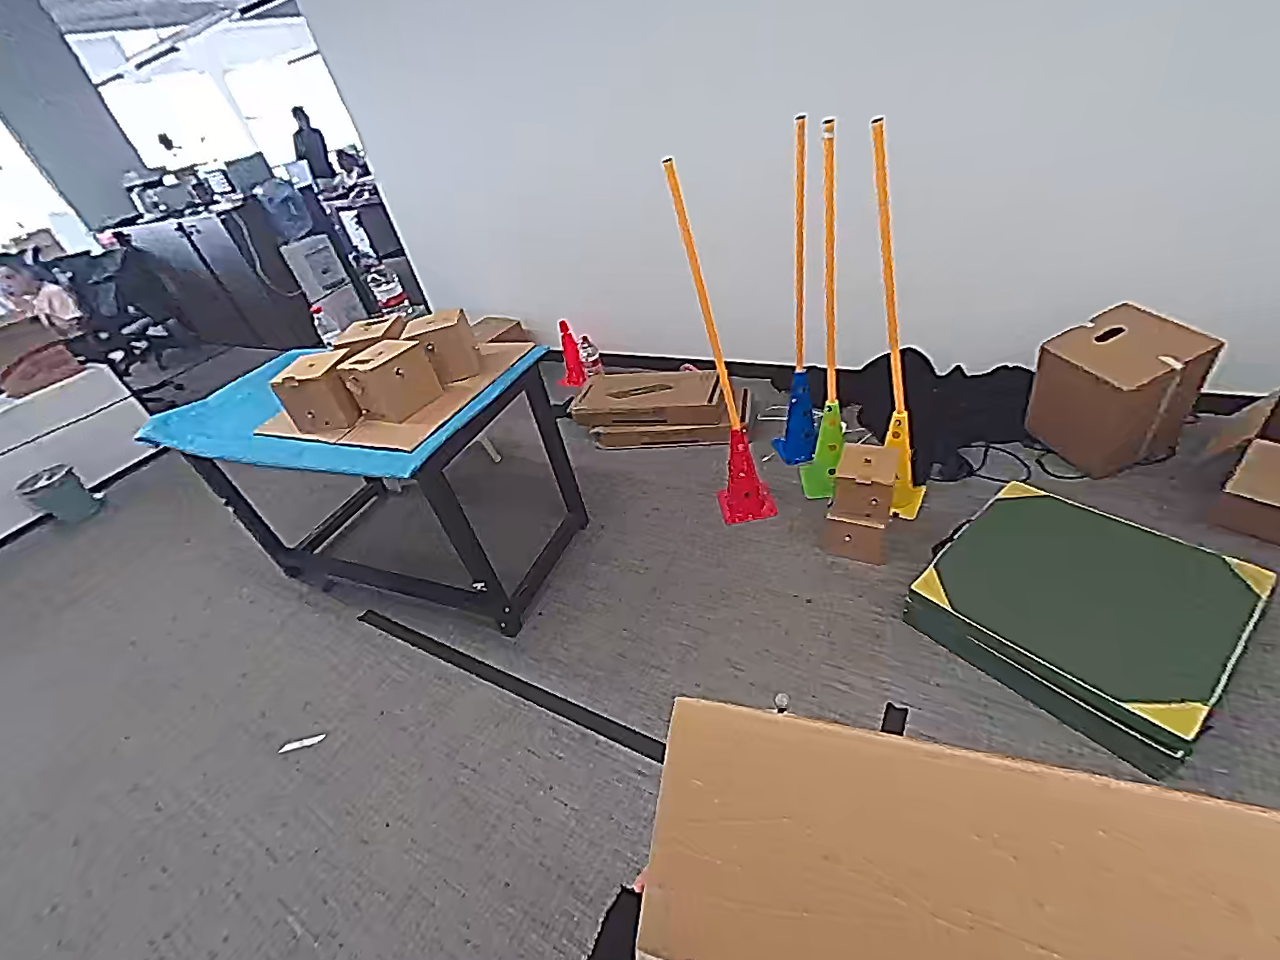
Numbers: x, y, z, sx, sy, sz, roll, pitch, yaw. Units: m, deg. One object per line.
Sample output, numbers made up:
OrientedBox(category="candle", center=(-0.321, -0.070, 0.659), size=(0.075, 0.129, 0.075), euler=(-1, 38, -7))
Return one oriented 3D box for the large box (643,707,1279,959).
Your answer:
OrientedBox(category="large box", center=(0.228, 0.373, 0.404), size=(0.408, 0.320, 0.320), euler=(3, 68, 19))
